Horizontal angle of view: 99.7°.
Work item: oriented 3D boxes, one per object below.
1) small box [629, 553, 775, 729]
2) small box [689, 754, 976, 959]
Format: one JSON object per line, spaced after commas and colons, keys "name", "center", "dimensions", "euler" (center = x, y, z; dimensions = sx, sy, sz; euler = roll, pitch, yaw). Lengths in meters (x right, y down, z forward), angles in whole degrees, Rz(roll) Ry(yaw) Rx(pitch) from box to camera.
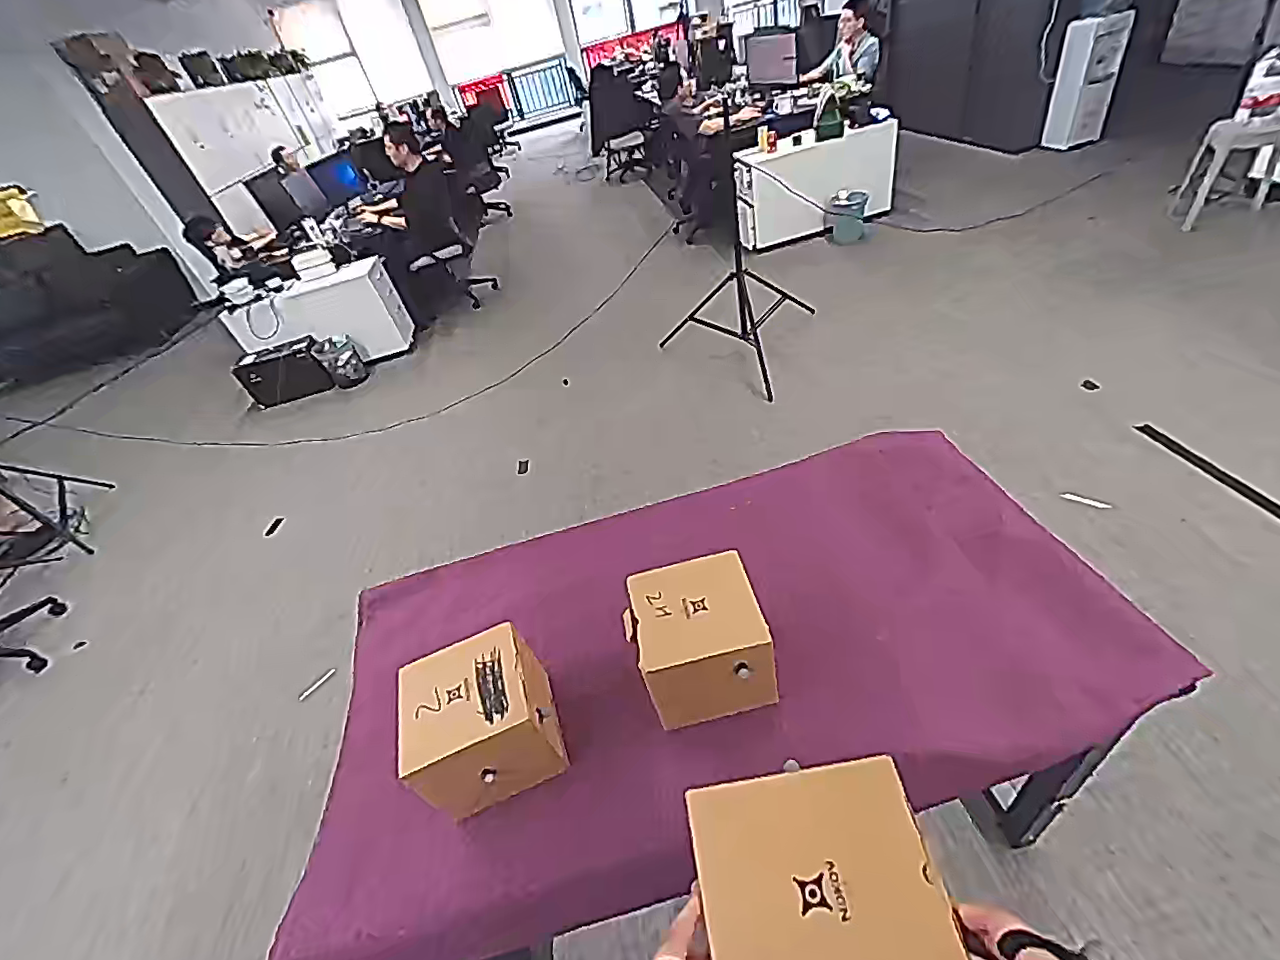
{"name": "small box", "center": [0.093, 0.241, 0.806], "dimensions": [0.179, 0.176, 0.168], "euler": [-15, 39, 1]}
{"name": "small box", "center": [0.150, 0.356, 0.455], "dimensions": [0.179, 0.176, 0.168], "euler": [-12, 46, 3]}
